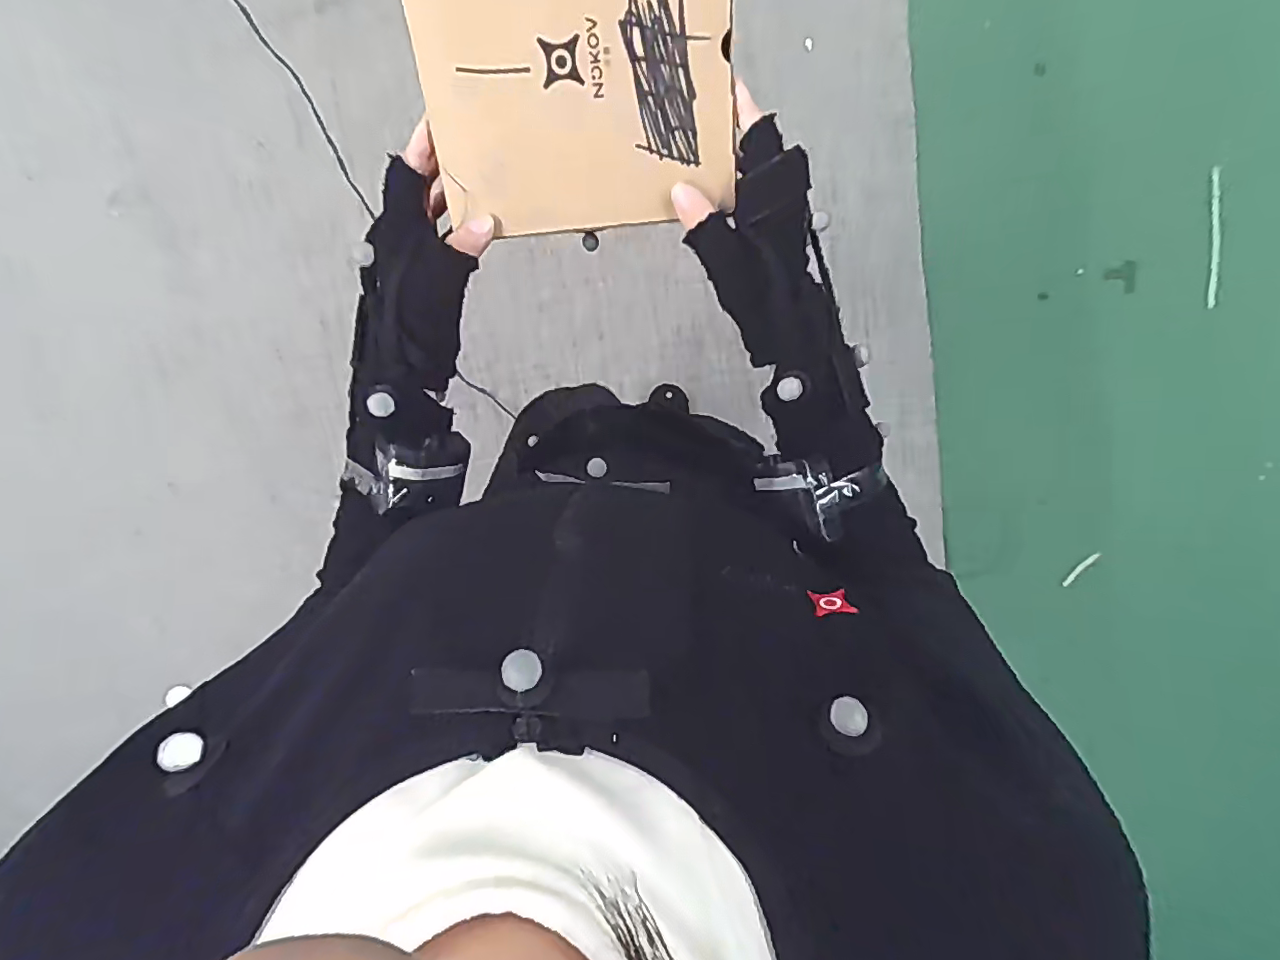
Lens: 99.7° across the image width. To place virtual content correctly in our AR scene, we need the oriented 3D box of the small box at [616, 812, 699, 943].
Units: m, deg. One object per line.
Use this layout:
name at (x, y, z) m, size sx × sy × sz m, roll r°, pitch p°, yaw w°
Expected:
small box at (0.040, 0.864, 1.191) m, size 0.168 × 0.176 × 0.179 m, roll -4°, pitch 99°, yaw 5°

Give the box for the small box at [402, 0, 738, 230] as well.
small box at (-0.037, -0.270, 0.363) m, size 0.179 × 0.176 × 0.168 m, roll -6°, pitch 116°, yaw 3°
